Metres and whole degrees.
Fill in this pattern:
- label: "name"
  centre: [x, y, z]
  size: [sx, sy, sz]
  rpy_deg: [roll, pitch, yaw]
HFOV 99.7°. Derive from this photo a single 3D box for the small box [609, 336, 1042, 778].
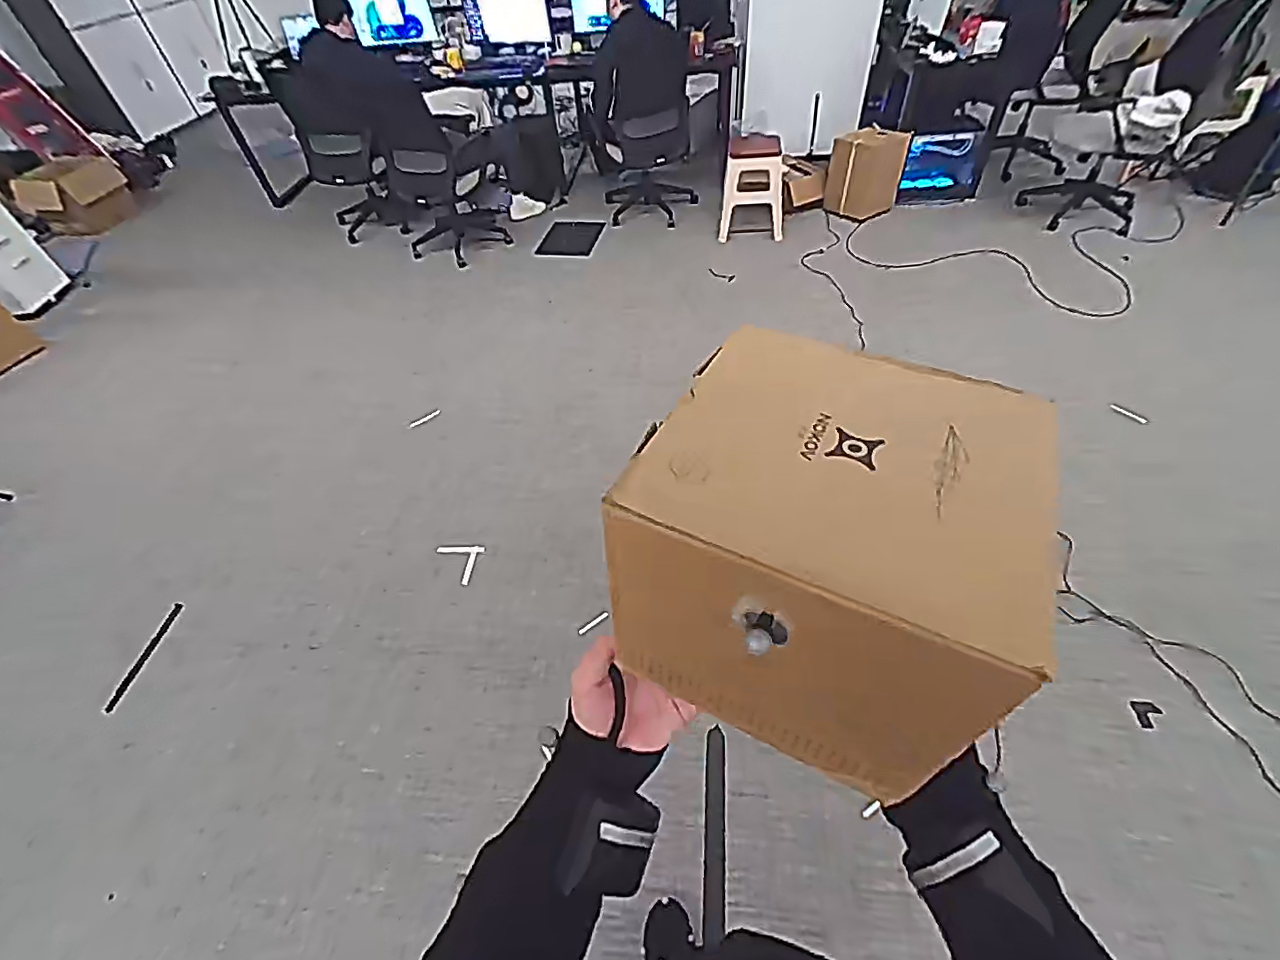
- label: "small box"
  centre: [0.099, 0.044, 0.323]
  size: [0.179, 0.176, 0.168]
  rpy_deg: [21, 51, 19]
